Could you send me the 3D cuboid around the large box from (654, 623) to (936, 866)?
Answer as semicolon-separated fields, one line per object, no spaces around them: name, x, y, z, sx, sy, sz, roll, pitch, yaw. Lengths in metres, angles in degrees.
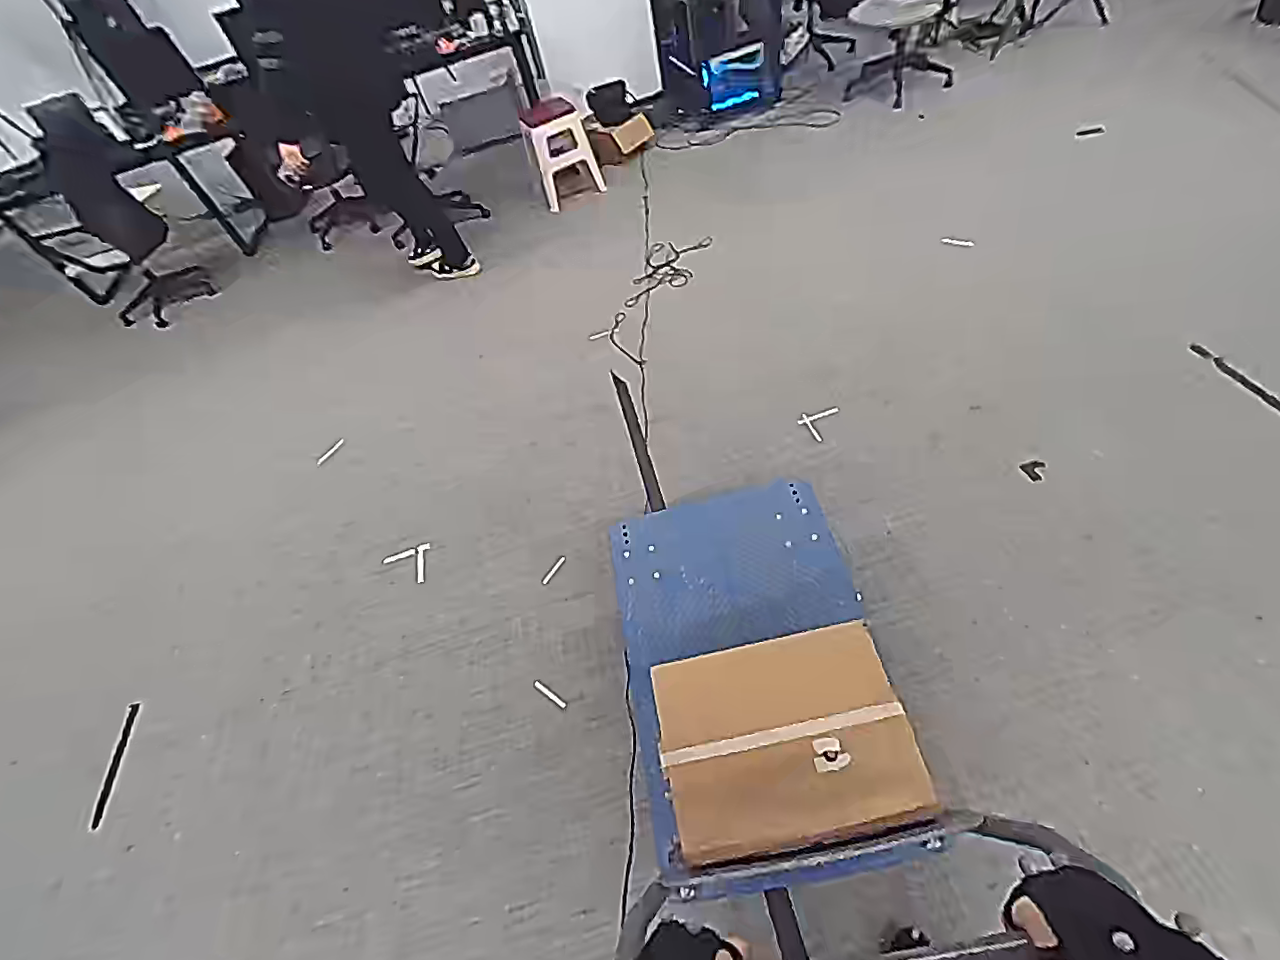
large box;0.268;0.518;1.051;0.408;0.320;0.320;-14;56;3
